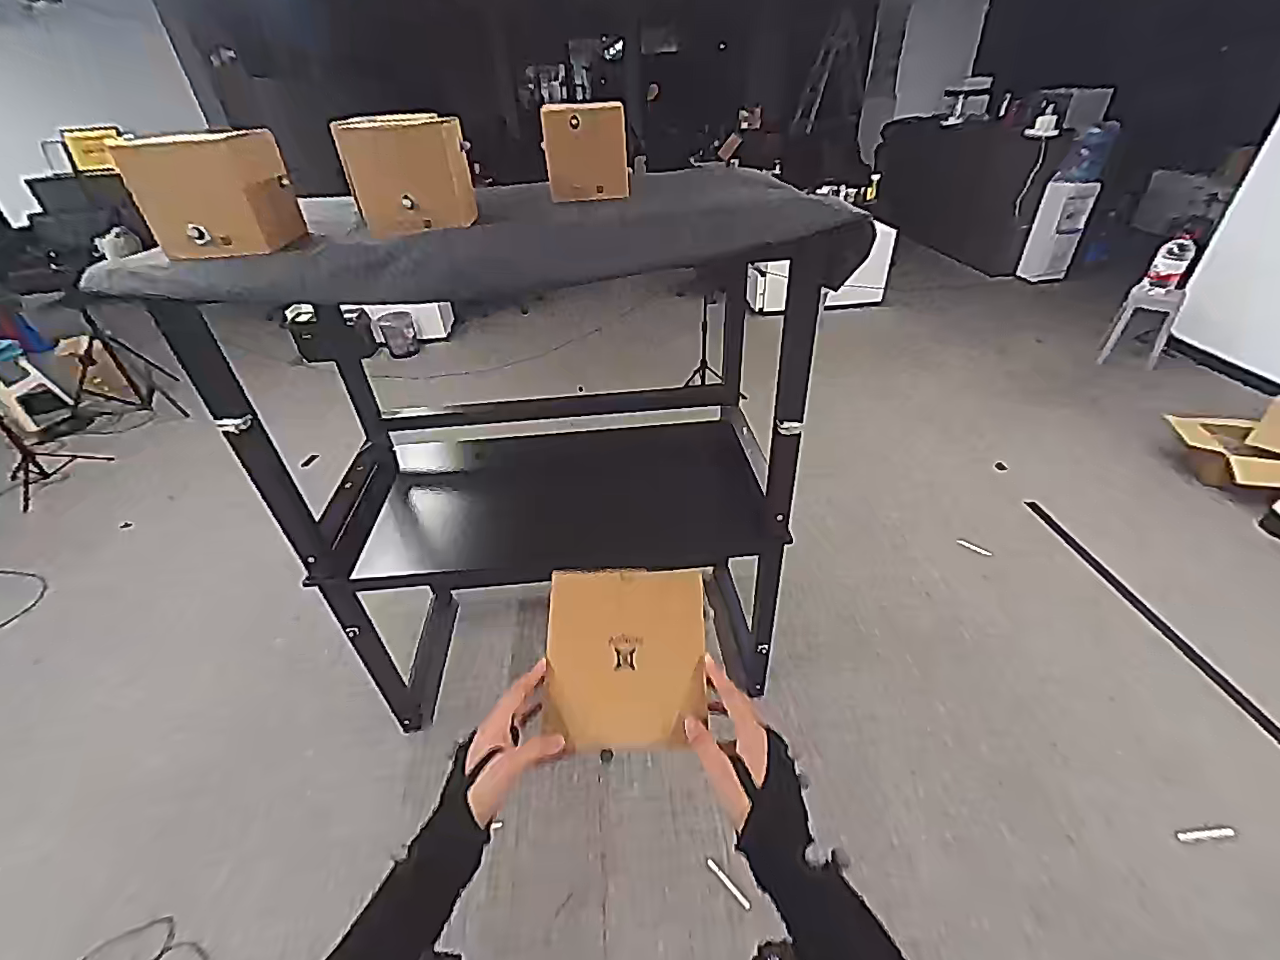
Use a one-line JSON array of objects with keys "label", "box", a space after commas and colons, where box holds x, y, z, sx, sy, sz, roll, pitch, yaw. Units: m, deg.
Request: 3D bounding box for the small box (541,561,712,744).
[{"label": "small box", "box": [-0.010, 0.200, 0.613, 0.168, 0.176, 0.179, 0, 64, 1]}]

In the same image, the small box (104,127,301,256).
[{"label": "small box", "box": [-0.699, -0.479, 0.896, 0.168, 0.176, 0.179, -7, 36, -4]}]

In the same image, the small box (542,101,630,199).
[{"label": "small box", "box": [-0.113, -0.711, 1.166, 0.168, 0.176, 0.179, -6, 36, -3]}]
